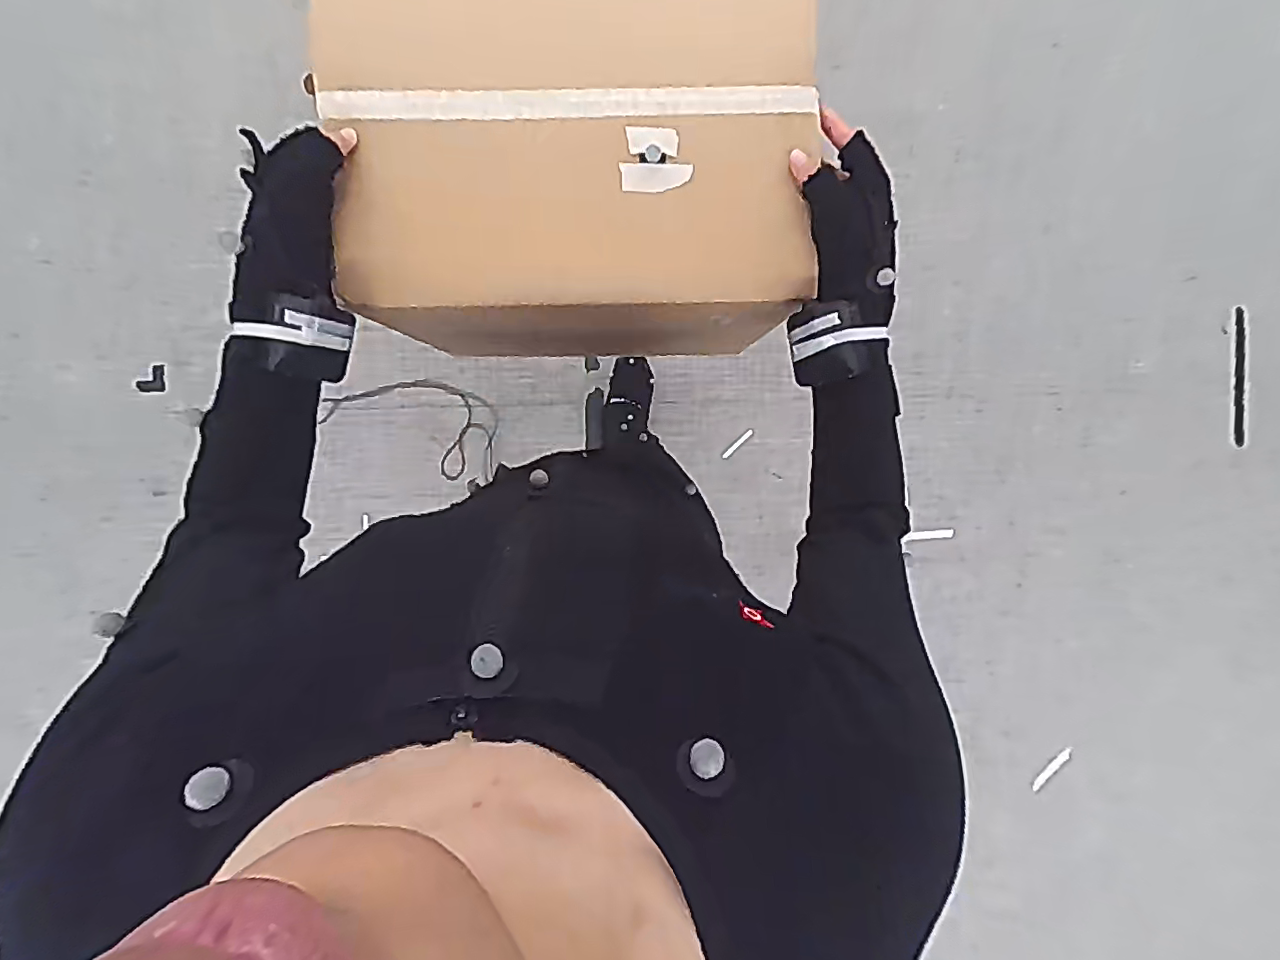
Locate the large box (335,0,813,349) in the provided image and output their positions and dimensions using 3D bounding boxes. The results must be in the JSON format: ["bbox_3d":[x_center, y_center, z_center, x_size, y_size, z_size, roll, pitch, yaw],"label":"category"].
[{"bbox_3d":[-0.057,-0.331,0.605,0.408,0.320,0.320,-1,96,-2],"label":"large box"}]
